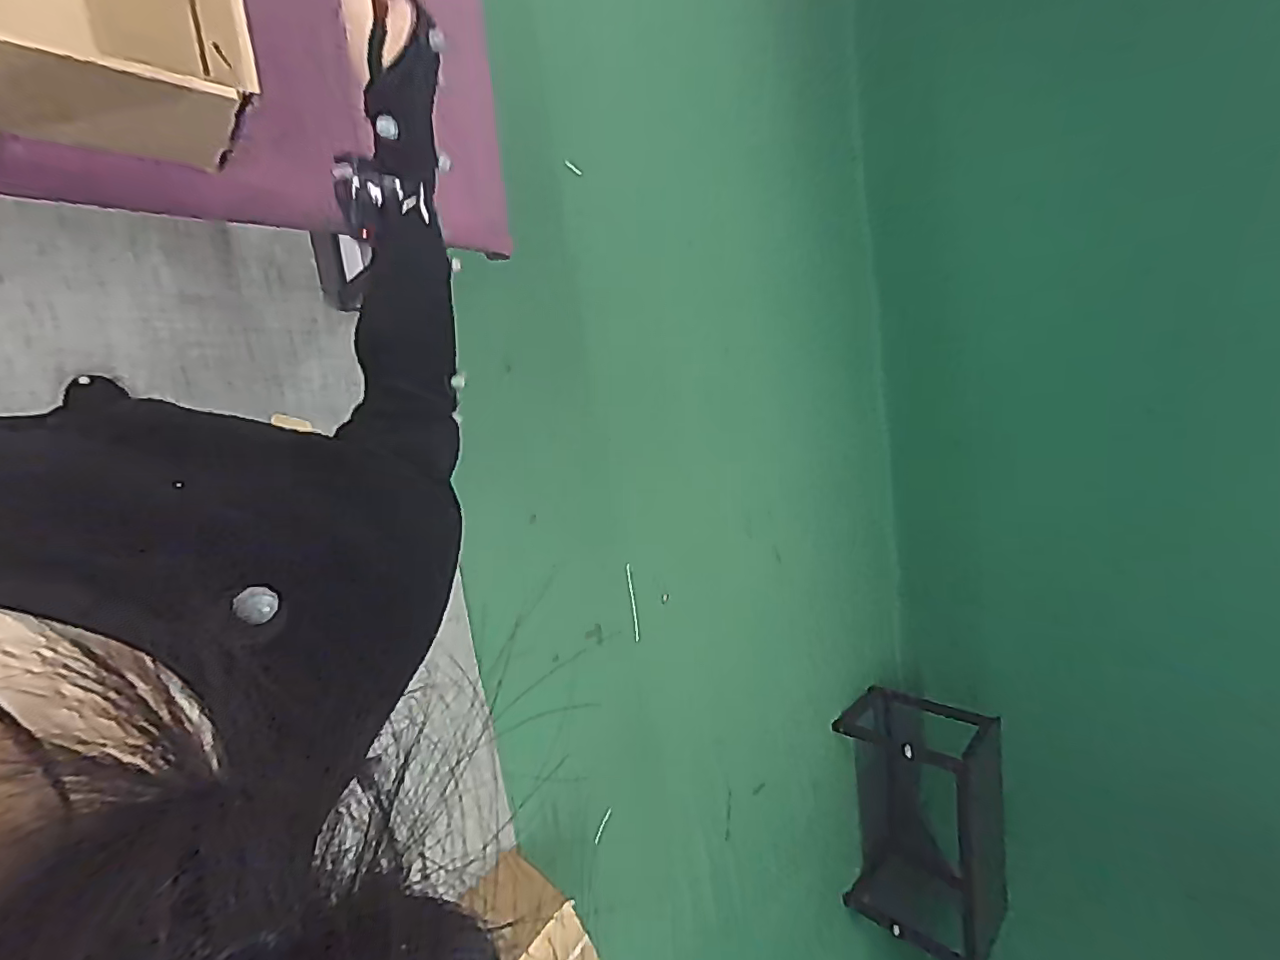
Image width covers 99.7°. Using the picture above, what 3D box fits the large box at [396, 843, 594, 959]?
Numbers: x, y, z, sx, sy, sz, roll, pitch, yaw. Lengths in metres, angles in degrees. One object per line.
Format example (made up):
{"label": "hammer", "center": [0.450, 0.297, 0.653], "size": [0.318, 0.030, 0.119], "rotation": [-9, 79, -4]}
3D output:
{"label": "large box", "center": [-0.416, 1.392, 1.568], "size": [0.408, 0.320, 0.320], "rotation": [-34, 114, -40]}
